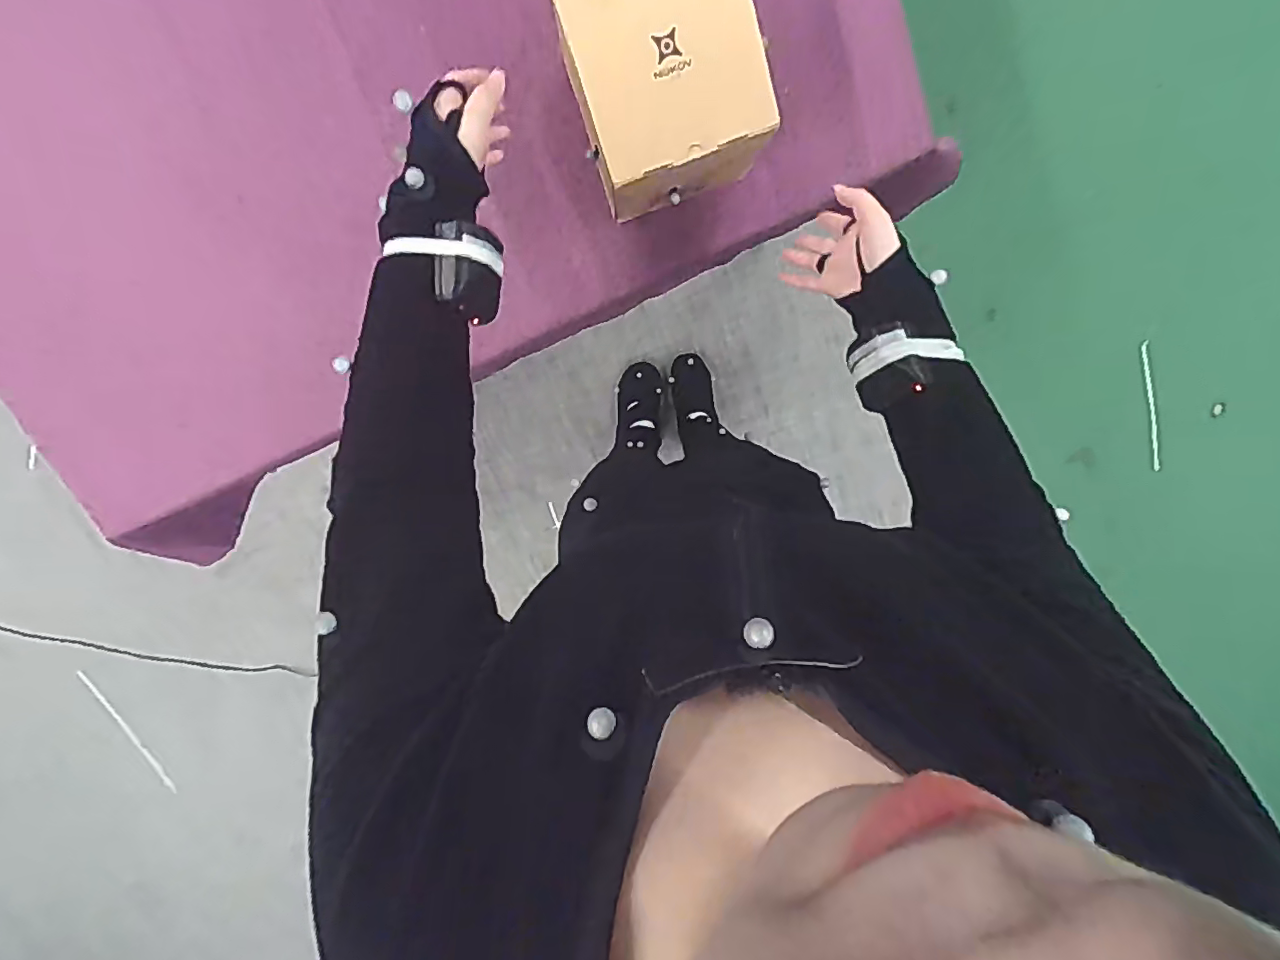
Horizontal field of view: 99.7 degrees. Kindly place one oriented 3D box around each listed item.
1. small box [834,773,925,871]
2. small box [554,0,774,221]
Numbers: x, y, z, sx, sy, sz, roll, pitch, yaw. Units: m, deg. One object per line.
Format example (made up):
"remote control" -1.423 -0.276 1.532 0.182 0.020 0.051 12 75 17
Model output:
"small box" 0.752 1.076 1.714 0.179 0.176 0.168 -32 103 7
"small box" 0.020 -0.399 0.564 0.168 0.176 0.179 -18 105 4
